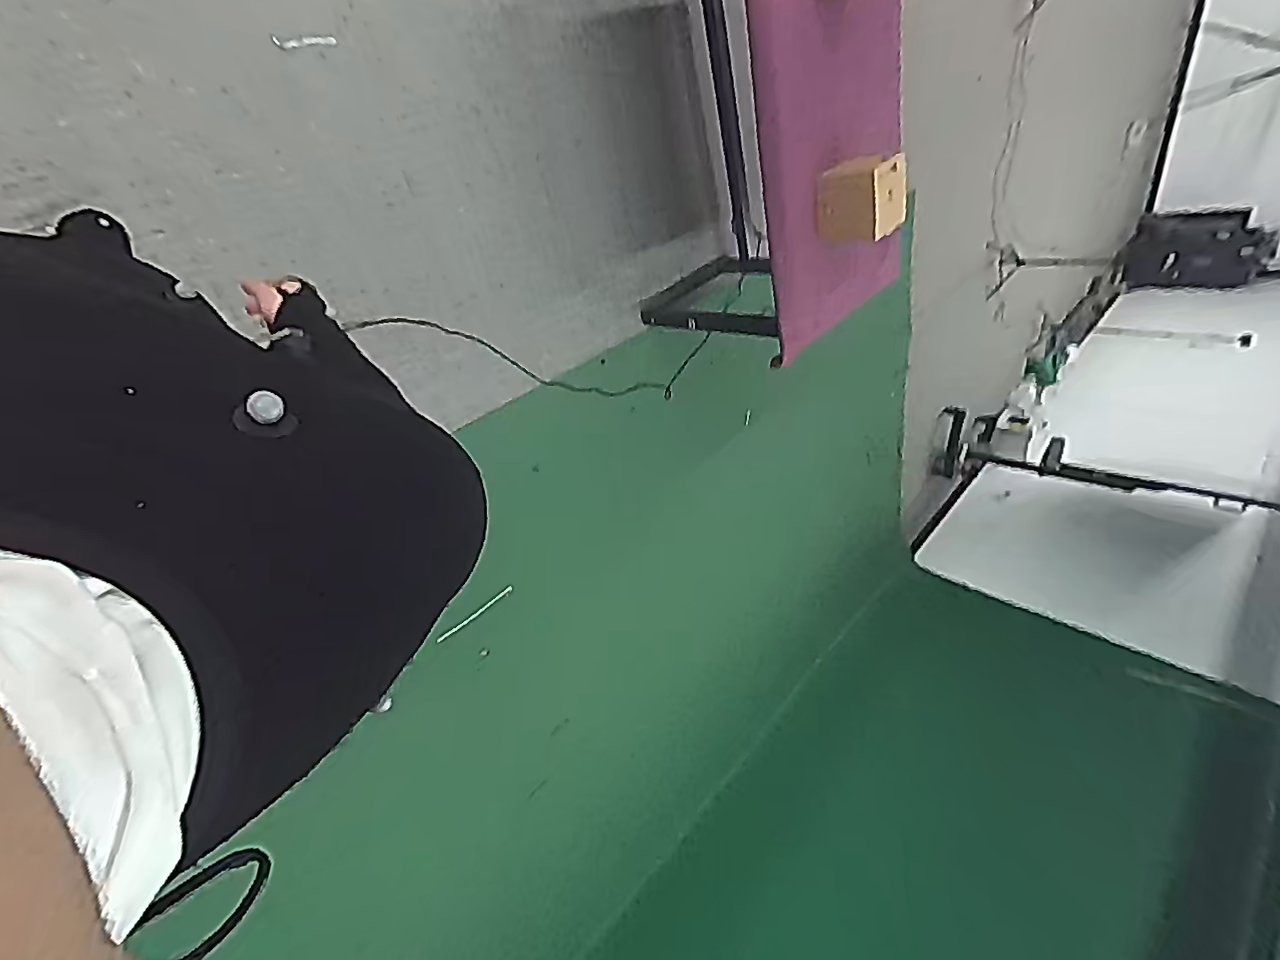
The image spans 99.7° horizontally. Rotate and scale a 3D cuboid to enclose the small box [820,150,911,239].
[{"bbox_3d":[0.608,-0.771,1.467,0.168,0.176,0.179,-38,129,-27],"label":"small box"}]
